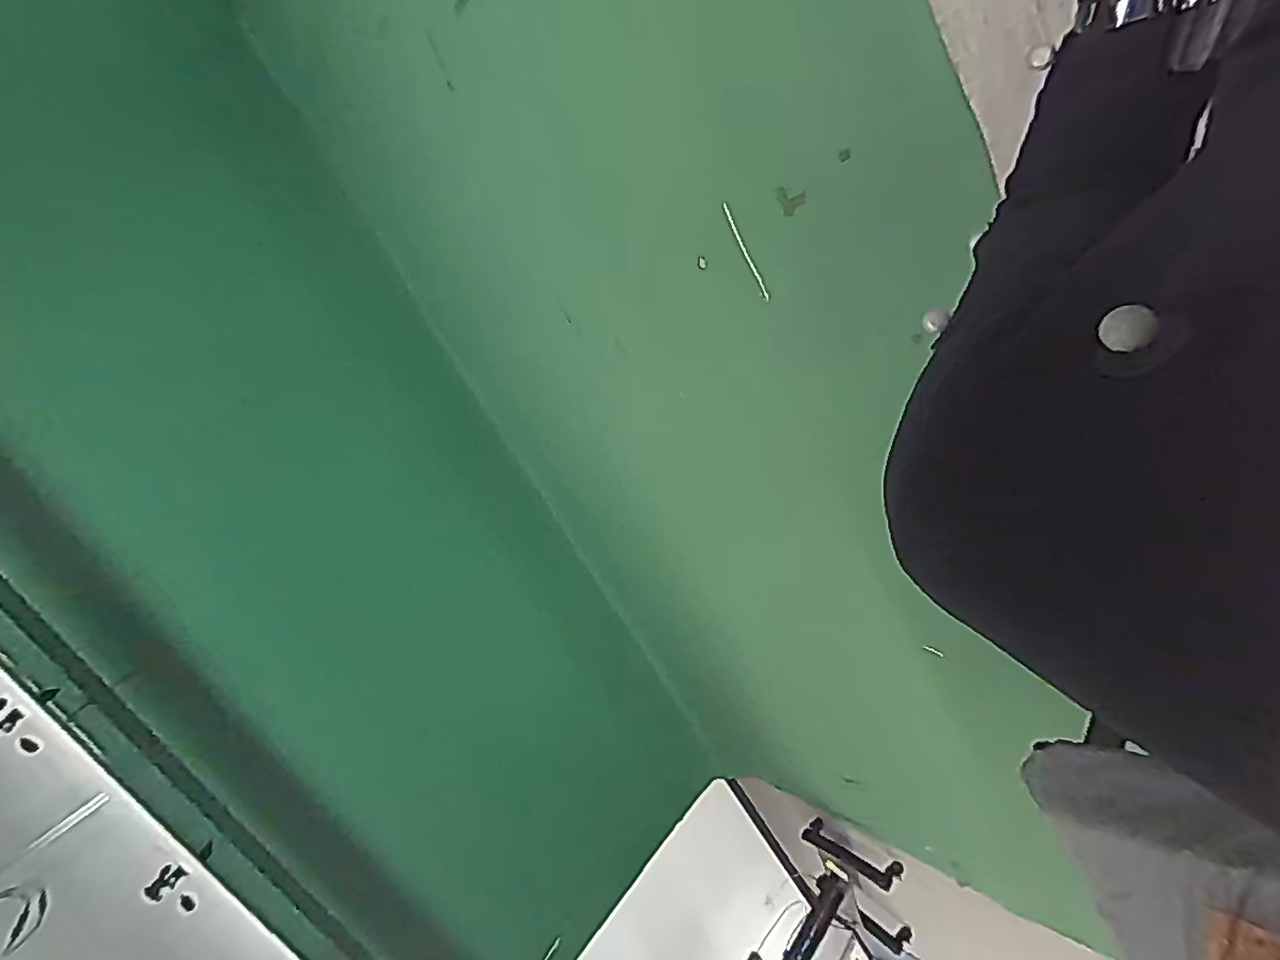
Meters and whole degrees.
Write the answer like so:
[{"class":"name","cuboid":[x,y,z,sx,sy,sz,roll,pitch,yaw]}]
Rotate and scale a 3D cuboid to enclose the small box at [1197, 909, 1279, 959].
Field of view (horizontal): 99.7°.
[{"class":"small box","cuboid":[0.975,0.814,0.812,0.168,0.176,0.179,-12,112,55]}]
